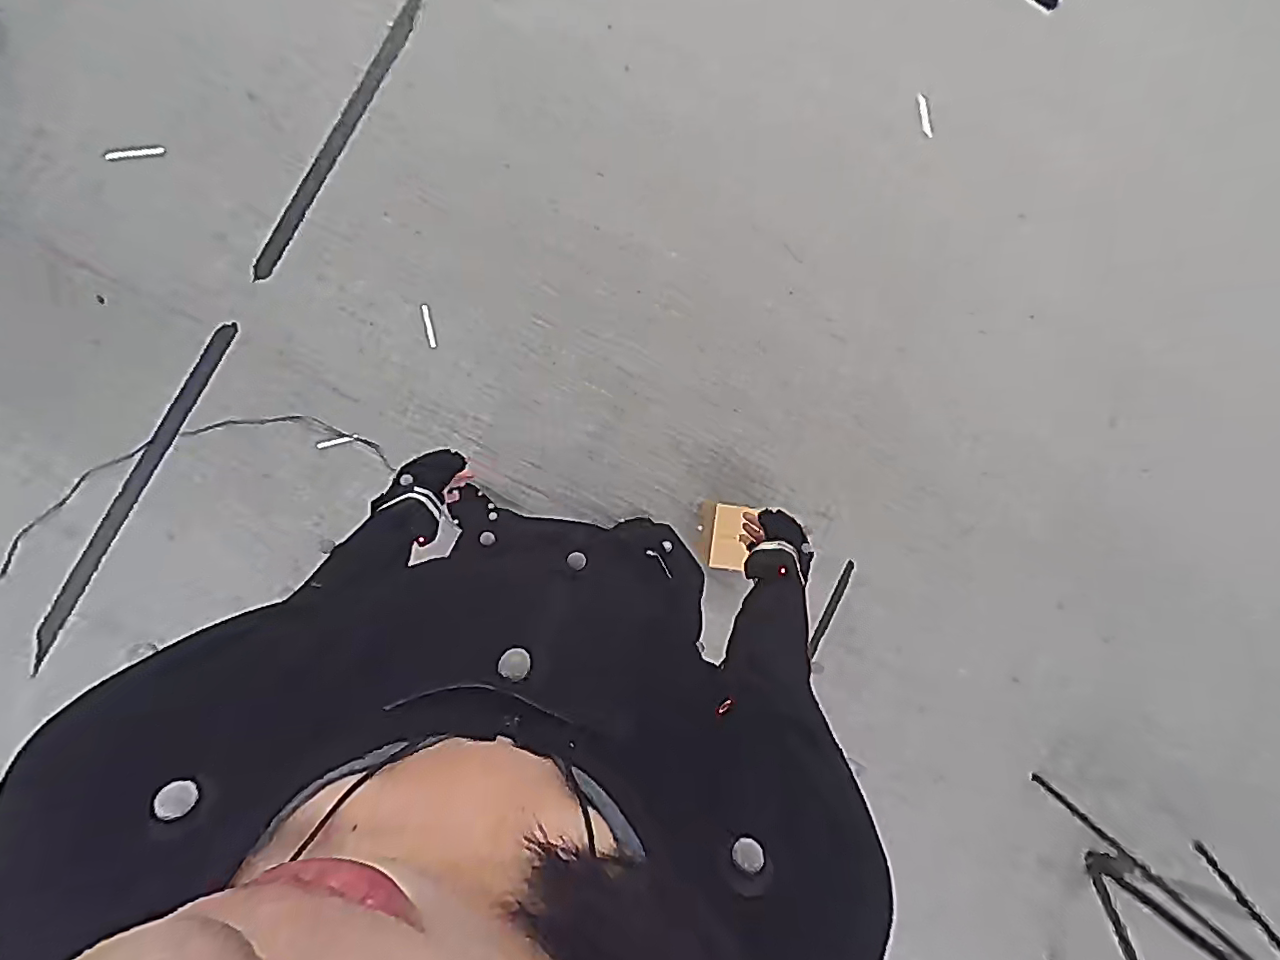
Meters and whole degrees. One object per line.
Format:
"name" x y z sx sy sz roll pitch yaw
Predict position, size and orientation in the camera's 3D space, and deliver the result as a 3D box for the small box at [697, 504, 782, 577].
"small box" 0.265 0.159 1.470 0.179 0.176 0.168 9 88 -4
